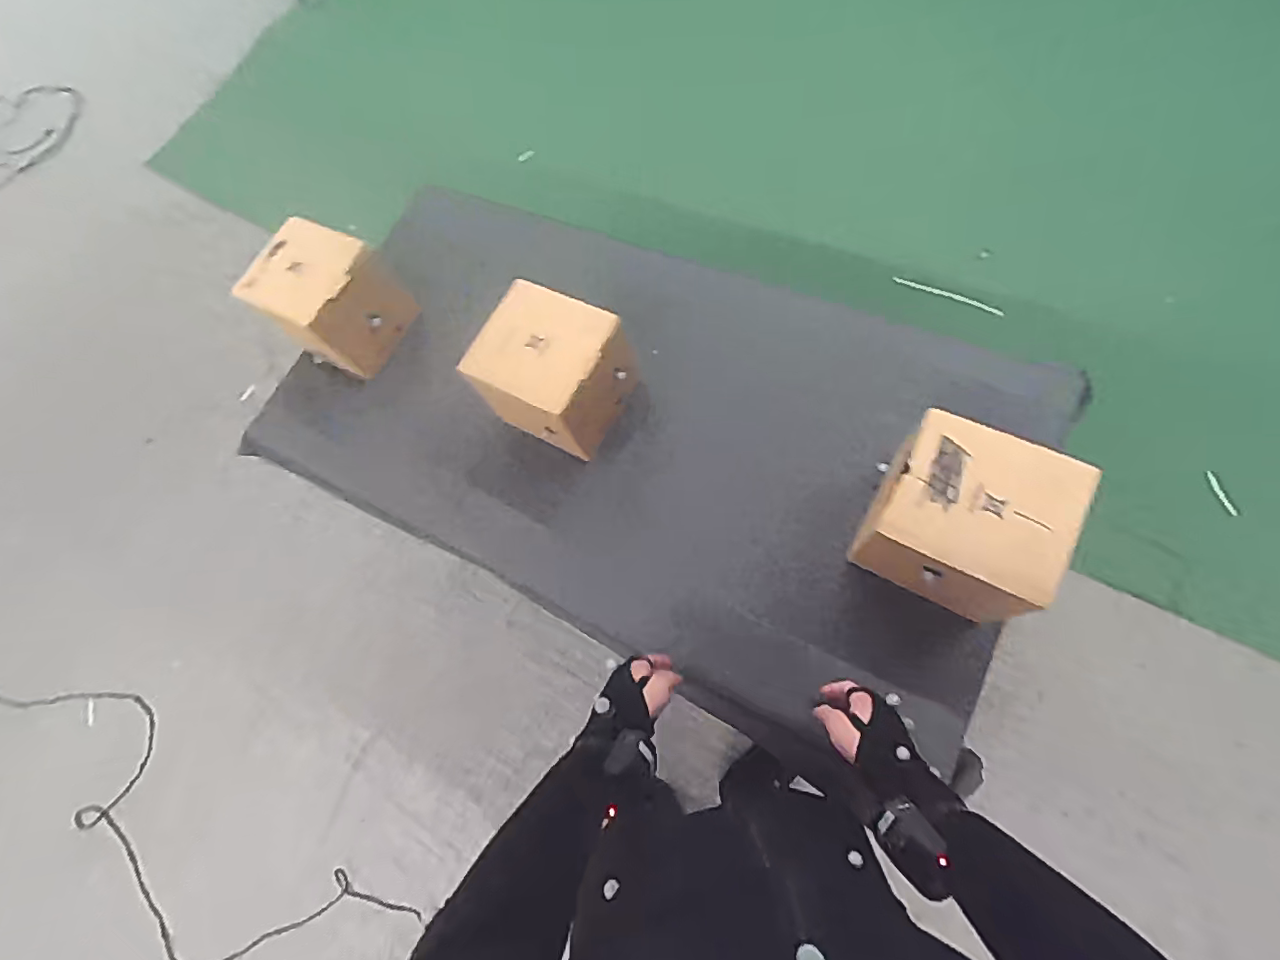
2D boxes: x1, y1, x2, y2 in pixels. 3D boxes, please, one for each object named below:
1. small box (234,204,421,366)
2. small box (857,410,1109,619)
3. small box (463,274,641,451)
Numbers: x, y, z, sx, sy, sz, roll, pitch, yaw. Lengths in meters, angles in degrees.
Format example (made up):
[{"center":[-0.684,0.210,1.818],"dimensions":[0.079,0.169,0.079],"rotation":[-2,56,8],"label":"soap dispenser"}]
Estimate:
[{"center":[-0.511,-0.319,0.913],"dimensions":[0.179,0.176,0.168],"rotation":[26,76,15],"label":"small box"},{"center":[0.384,0.051,0.641],"dimensions":[0.179,0.176,0.168],"rotation":[27,77,16],"label":"small box"},{"center":[-0.116,-0.163,0.799],"dimensions":[0.179,0.176,0.168],"rotation":[26,75,18],"label":"small box"}]
